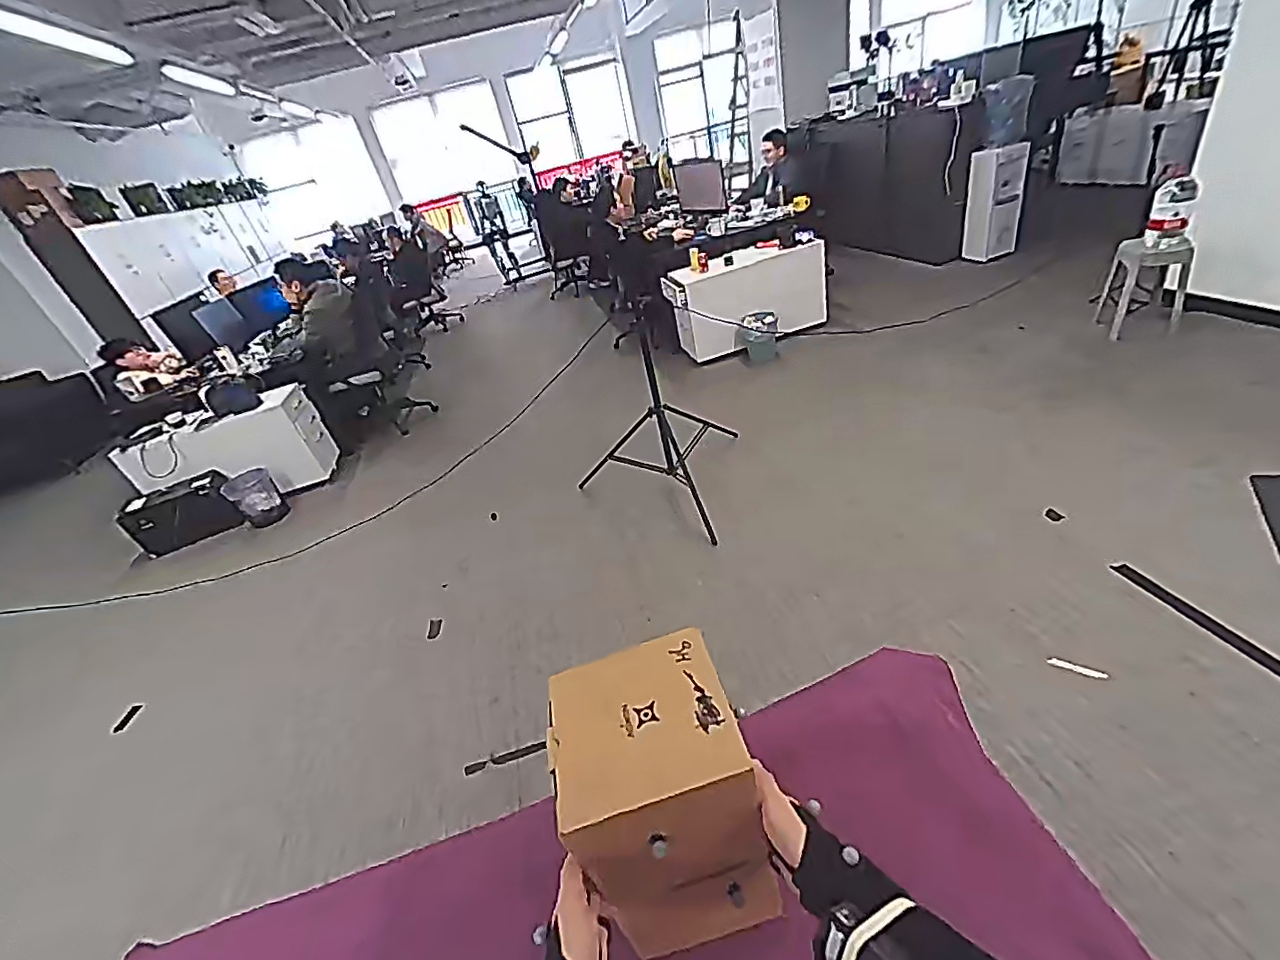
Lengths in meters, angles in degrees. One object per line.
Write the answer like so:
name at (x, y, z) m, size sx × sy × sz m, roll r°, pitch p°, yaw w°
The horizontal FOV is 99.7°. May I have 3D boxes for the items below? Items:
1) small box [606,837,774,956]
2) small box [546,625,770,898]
small box at (0.054, 0.431, 0.657) m, size 0.179 × 0.176 × 0.168 m, roll -17°, pitch 33°, yaw -2°
small box at (0.017, 0.290, 0.560) m, size 0.179 × 0.176 × 0.168 m, roll -19°, pitch 34°, yaw -2°
